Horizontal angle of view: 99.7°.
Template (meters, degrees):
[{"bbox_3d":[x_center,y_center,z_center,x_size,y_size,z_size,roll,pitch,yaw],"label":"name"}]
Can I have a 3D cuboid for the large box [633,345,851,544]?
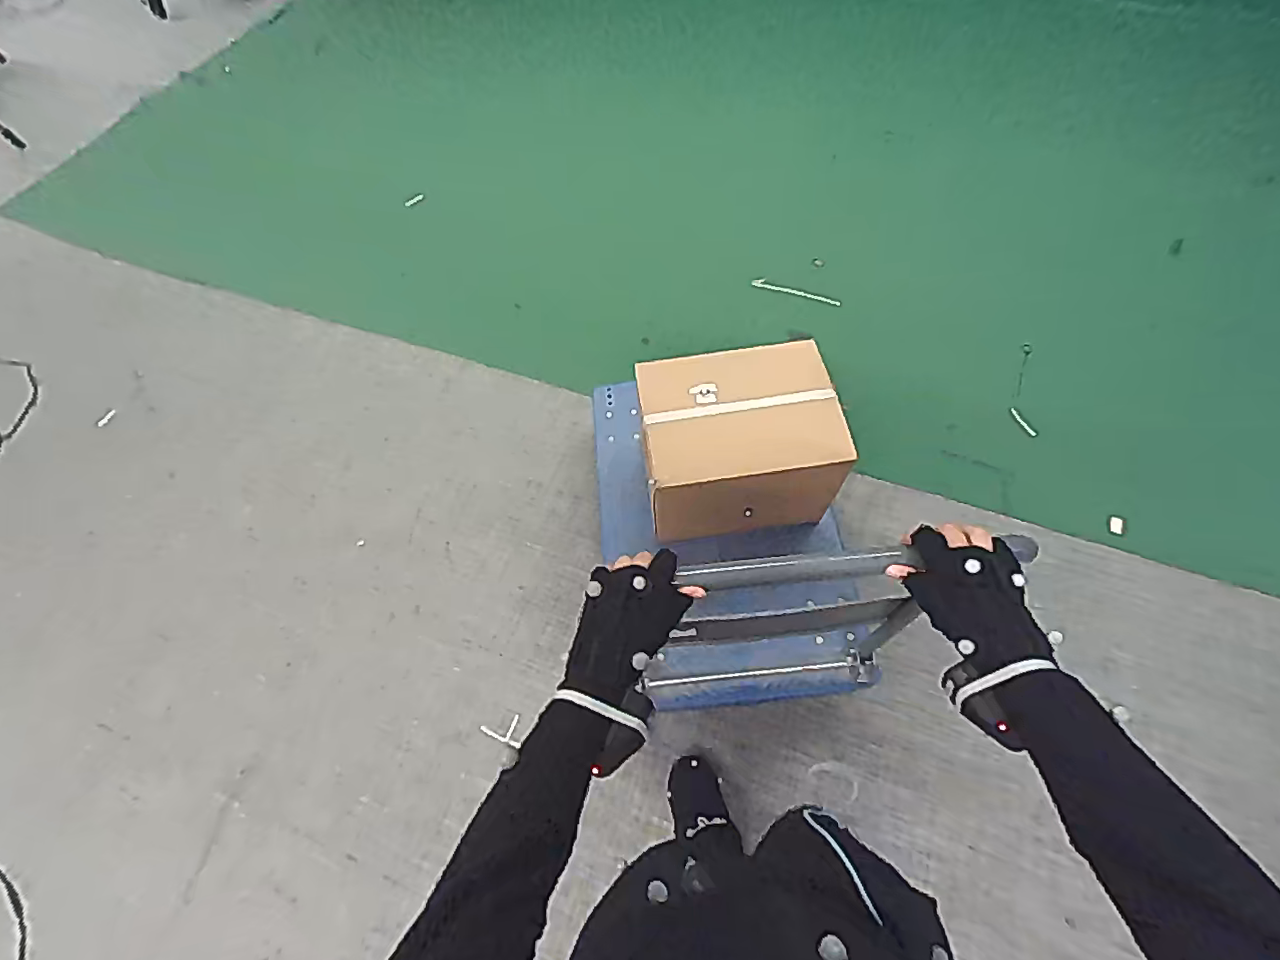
[{"bbox_3d":[0.212,-0.068,1.258,0.408,0.320,0.320,-9,62,0],"label":"large box"}]
